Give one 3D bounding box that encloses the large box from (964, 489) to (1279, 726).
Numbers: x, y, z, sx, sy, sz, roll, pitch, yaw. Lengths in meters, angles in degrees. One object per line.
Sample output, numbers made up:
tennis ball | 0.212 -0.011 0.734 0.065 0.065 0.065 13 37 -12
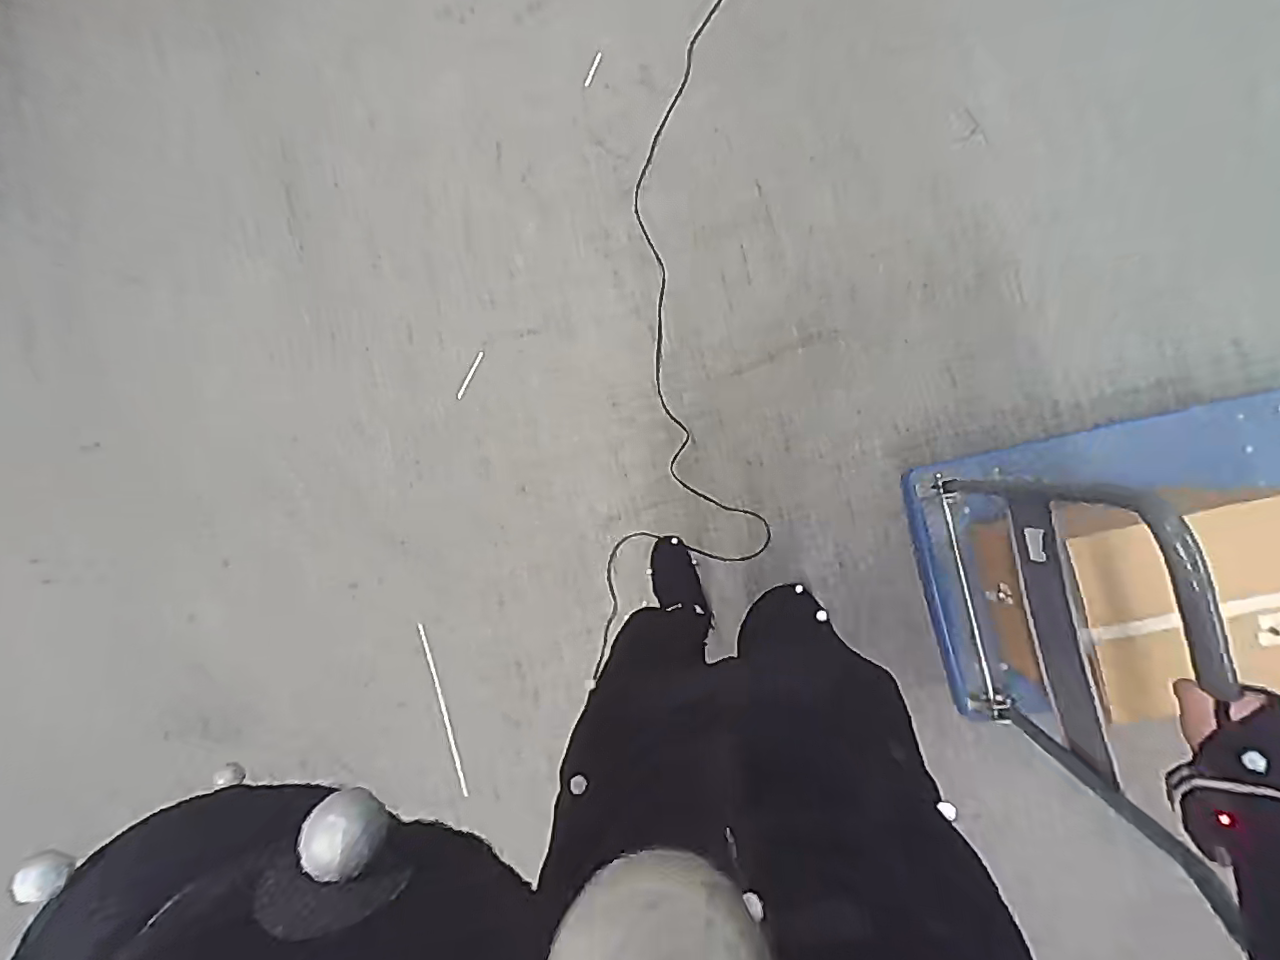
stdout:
large box | 0.925 0.215 1.025 0.408 0.320 0.320 -14 88 5
